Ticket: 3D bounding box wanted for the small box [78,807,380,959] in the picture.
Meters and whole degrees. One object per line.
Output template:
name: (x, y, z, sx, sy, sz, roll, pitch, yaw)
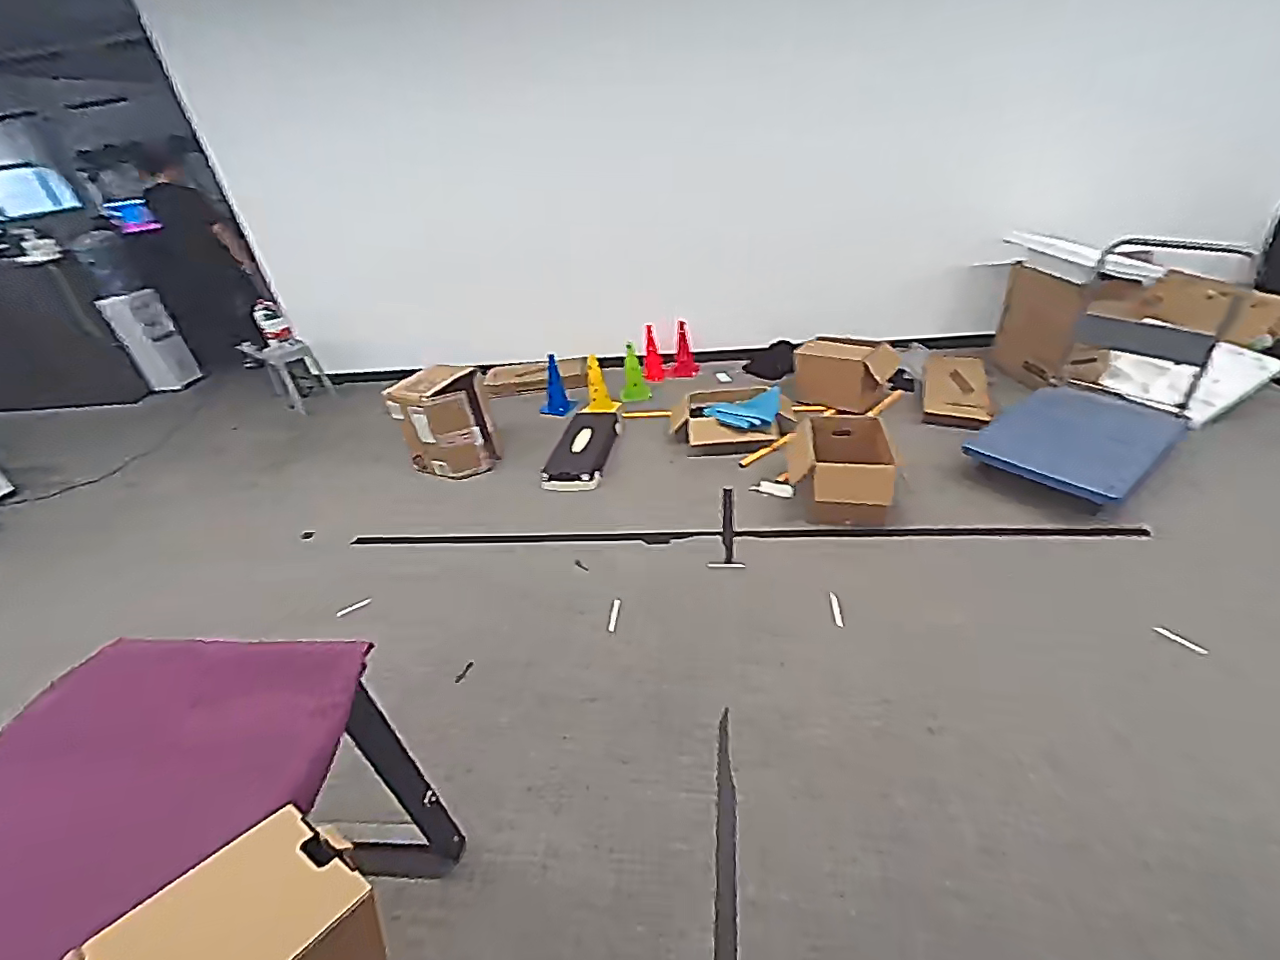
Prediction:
small box: (-0.371, 0.474, 0.515, 0.168, 0.176, 0.179, 13, 21, 31)
